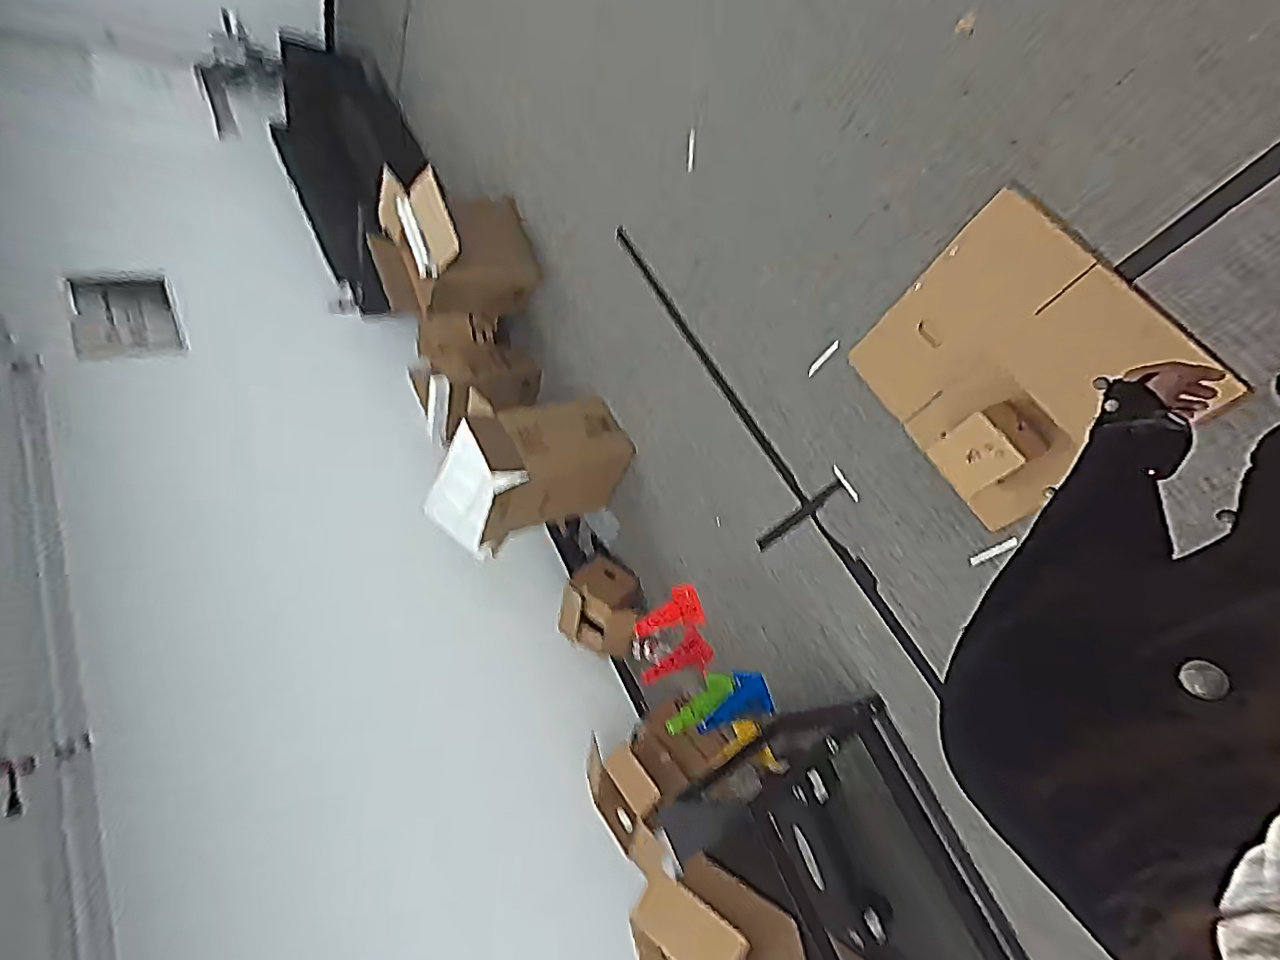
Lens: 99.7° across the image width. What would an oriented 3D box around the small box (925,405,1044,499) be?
[{"bbox_3d":[0.912,-0.076,1.431,0.168,0.176,0.179,58,141,20],"label":"small box"}]
